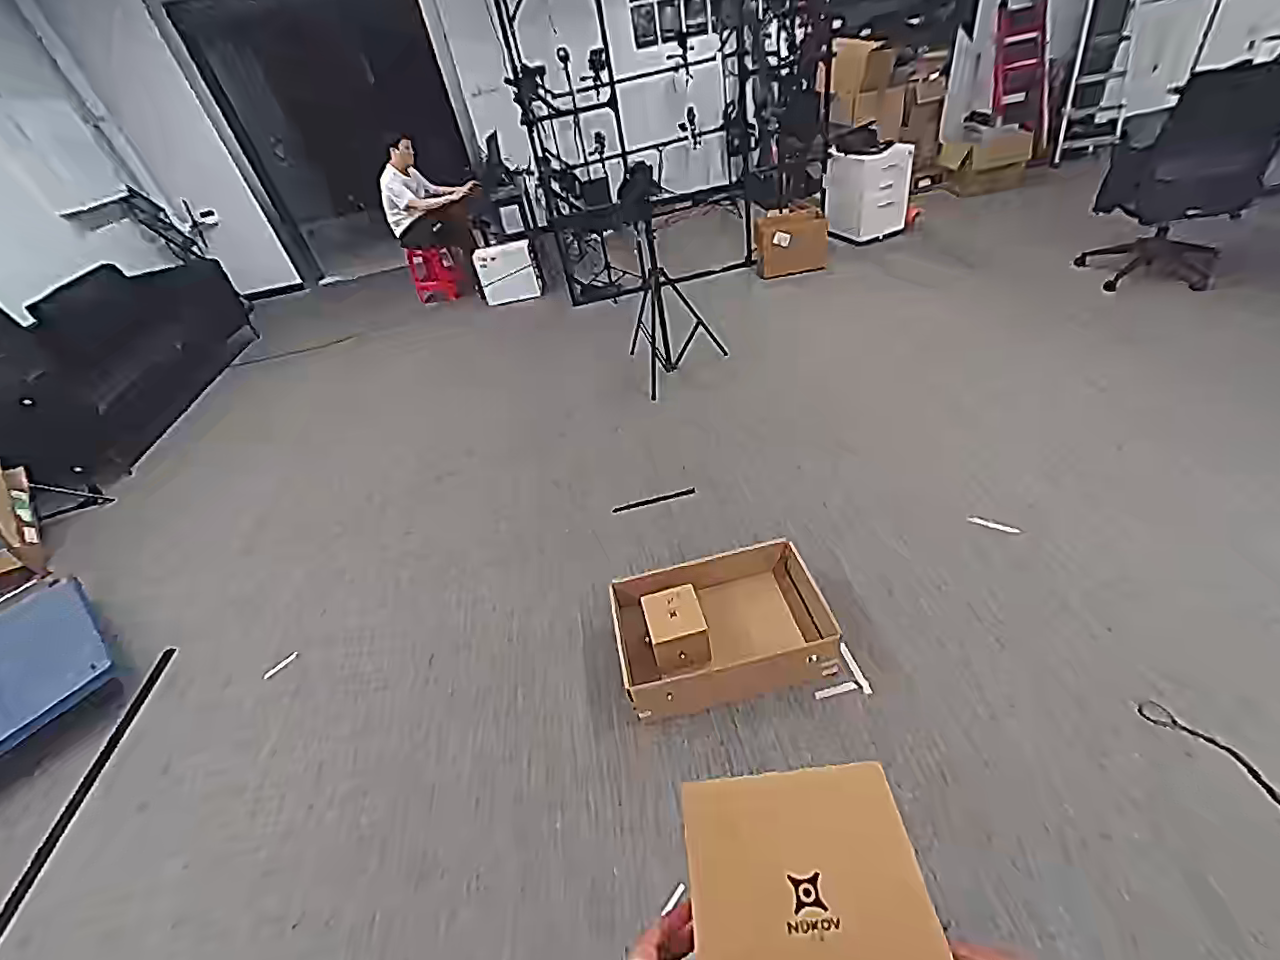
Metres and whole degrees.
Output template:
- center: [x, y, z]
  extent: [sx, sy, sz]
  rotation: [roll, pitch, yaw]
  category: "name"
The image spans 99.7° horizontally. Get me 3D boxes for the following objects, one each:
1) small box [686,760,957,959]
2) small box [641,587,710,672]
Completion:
- center: [0.130, 0.352, 0.425]
  extent: [0.168, 0.176, 0.179]
  rotation: [-8, 38, 4]
  category: "small box"
- center: [0.110, 0.460, 1.644]
  extent: [0.168, 0.176, 0.179]
  rotation: [-14, 39, -4]
  category: "small box"
